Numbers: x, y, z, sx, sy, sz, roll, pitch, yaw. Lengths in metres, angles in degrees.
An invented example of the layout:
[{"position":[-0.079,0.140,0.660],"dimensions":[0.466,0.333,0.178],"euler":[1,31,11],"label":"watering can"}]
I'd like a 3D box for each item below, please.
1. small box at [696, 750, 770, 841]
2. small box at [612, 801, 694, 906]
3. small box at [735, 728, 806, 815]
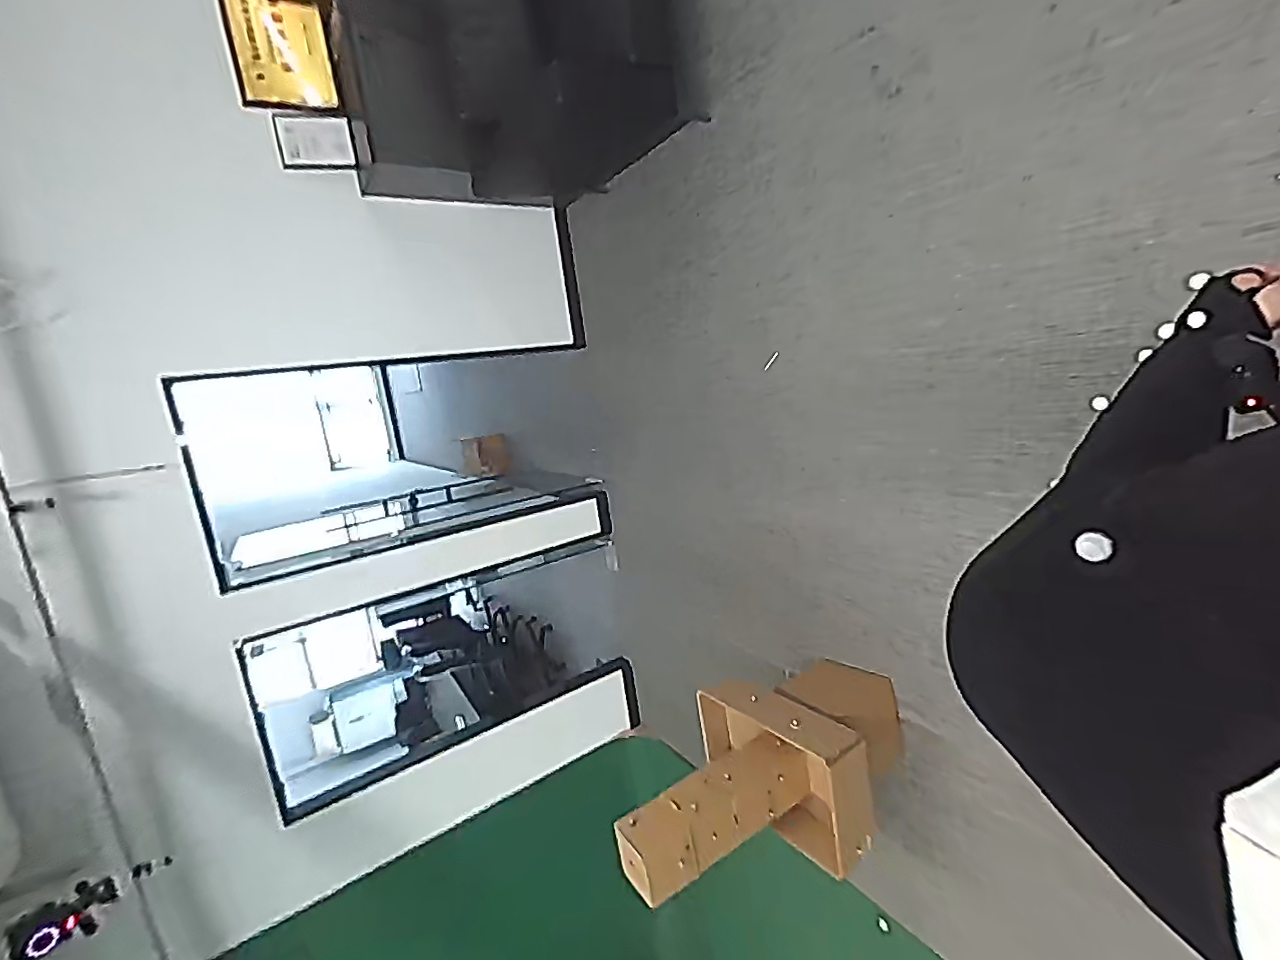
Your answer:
[{"position":[0.314,1.032,1.790],"dimensions":[0.179,0.176,0.168],"euler":[4,105,59],"label":"small box"},{"position":[0.039,1.107,1.625],"dimensions":[0.179,0.176,0.168],"euler":[1,103,59],"label":"small box"},{"position":[0.454,1.000,1.869],"dimensions":[0.168,0.176,0.179],"euler":[2,103,59],"label":"small box"}]
